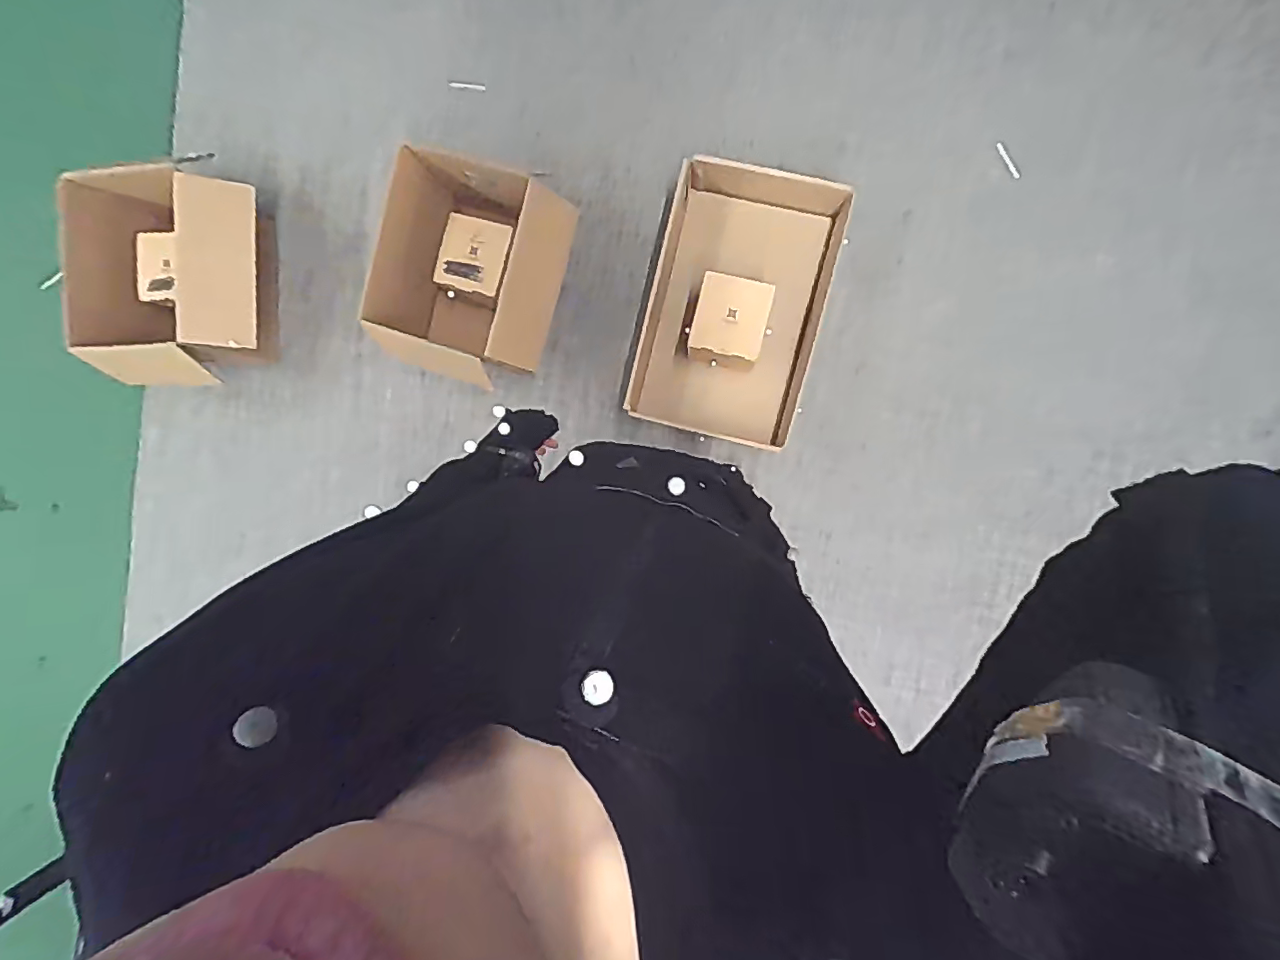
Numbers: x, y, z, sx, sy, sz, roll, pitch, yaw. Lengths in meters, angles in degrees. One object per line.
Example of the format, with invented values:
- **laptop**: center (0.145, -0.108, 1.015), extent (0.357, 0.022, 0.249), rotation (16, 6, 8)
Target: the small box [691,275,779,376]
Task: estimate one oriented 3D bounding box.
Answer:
- **small box**: center (0.221, -0.364, 1.302), extent (0.168, 0.176, 0.179), rotation (14, 94, 5)
